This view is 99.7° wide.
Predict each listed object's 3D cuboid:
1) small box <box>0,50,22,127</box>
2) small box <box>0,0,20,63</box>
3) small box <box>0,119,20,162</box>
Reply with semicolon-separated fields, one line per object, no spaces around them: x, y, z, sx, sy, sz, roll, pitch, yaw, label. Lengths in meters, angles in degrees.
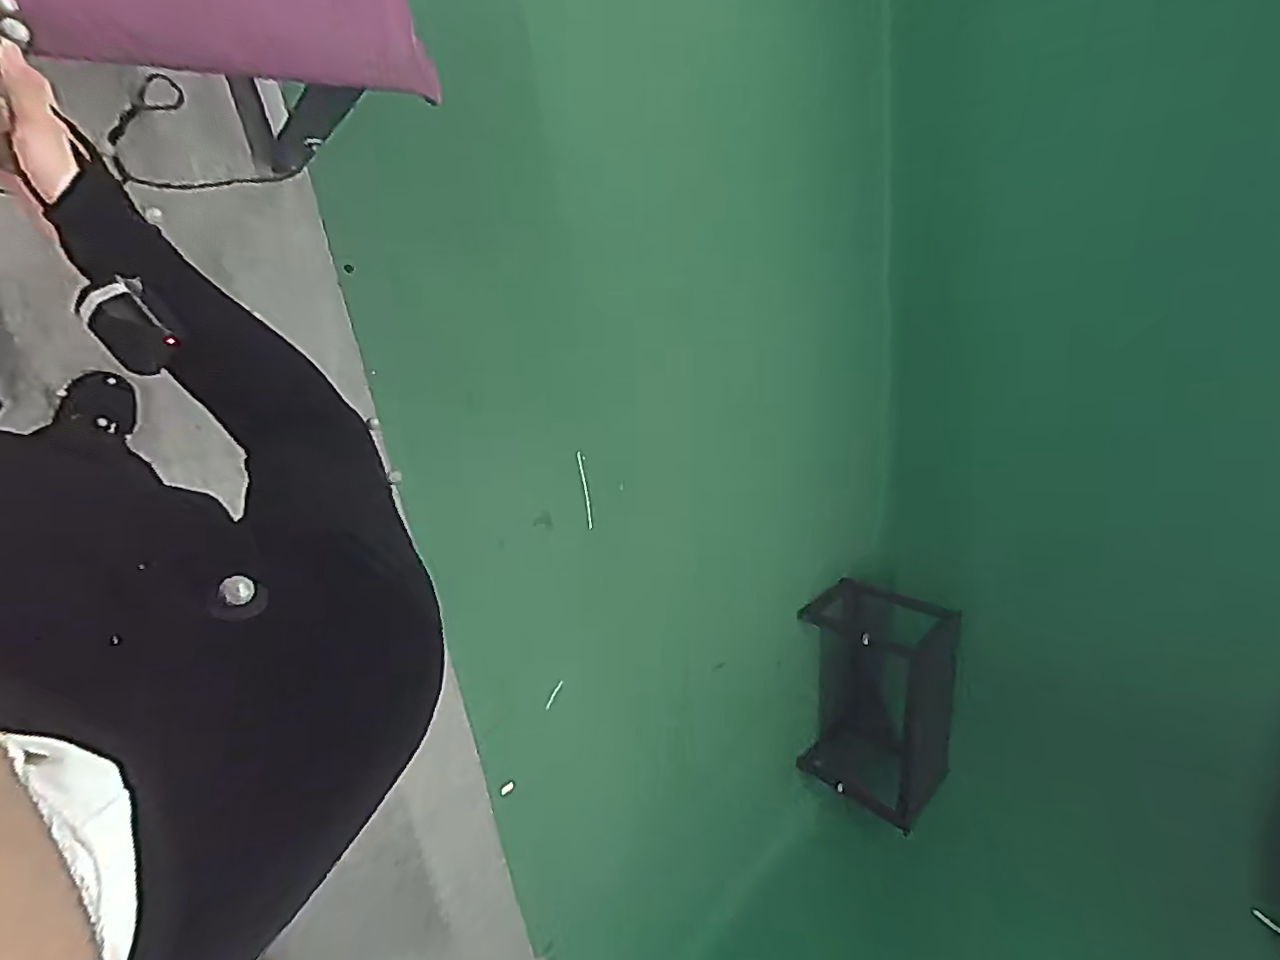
-0.510;-0.333;0.316;0.179;0.176;0.168;-10;112;-45;small box
-0.389;-0.295;0.210;0.179;0.176;0.168;-11;112;-45;small box
-0.629;-0.369;0.422;0.179;0.176;0.168;-9;110;-47;small box
